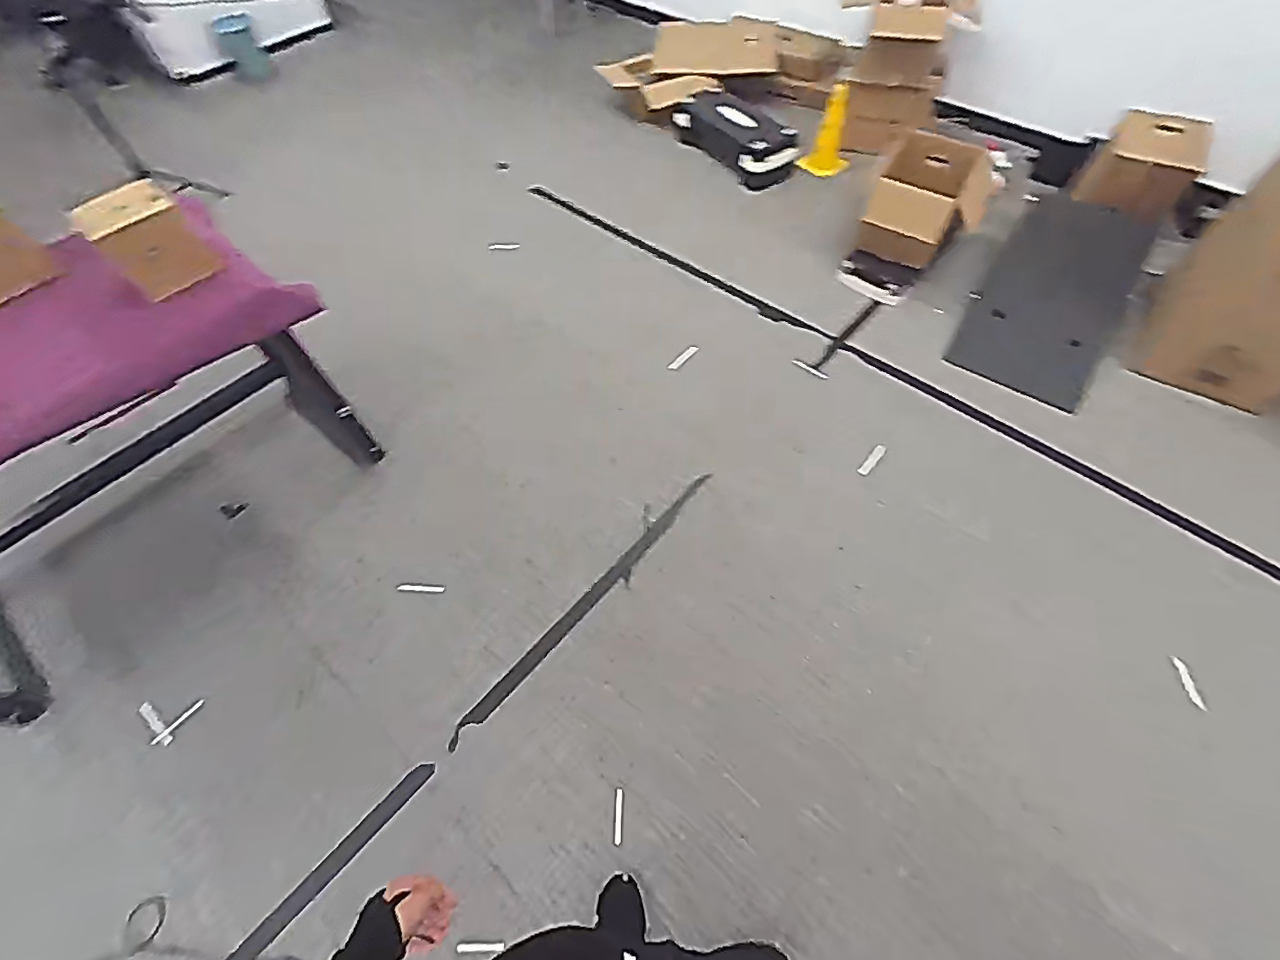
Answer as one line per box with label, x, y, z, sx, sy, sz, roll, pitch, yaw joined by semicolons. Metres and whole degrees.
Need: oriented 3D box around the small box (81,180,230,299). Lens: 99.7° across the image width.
small box;-1.134;-0.562;1.277;0.168;0.176;0.179;38;68;22
